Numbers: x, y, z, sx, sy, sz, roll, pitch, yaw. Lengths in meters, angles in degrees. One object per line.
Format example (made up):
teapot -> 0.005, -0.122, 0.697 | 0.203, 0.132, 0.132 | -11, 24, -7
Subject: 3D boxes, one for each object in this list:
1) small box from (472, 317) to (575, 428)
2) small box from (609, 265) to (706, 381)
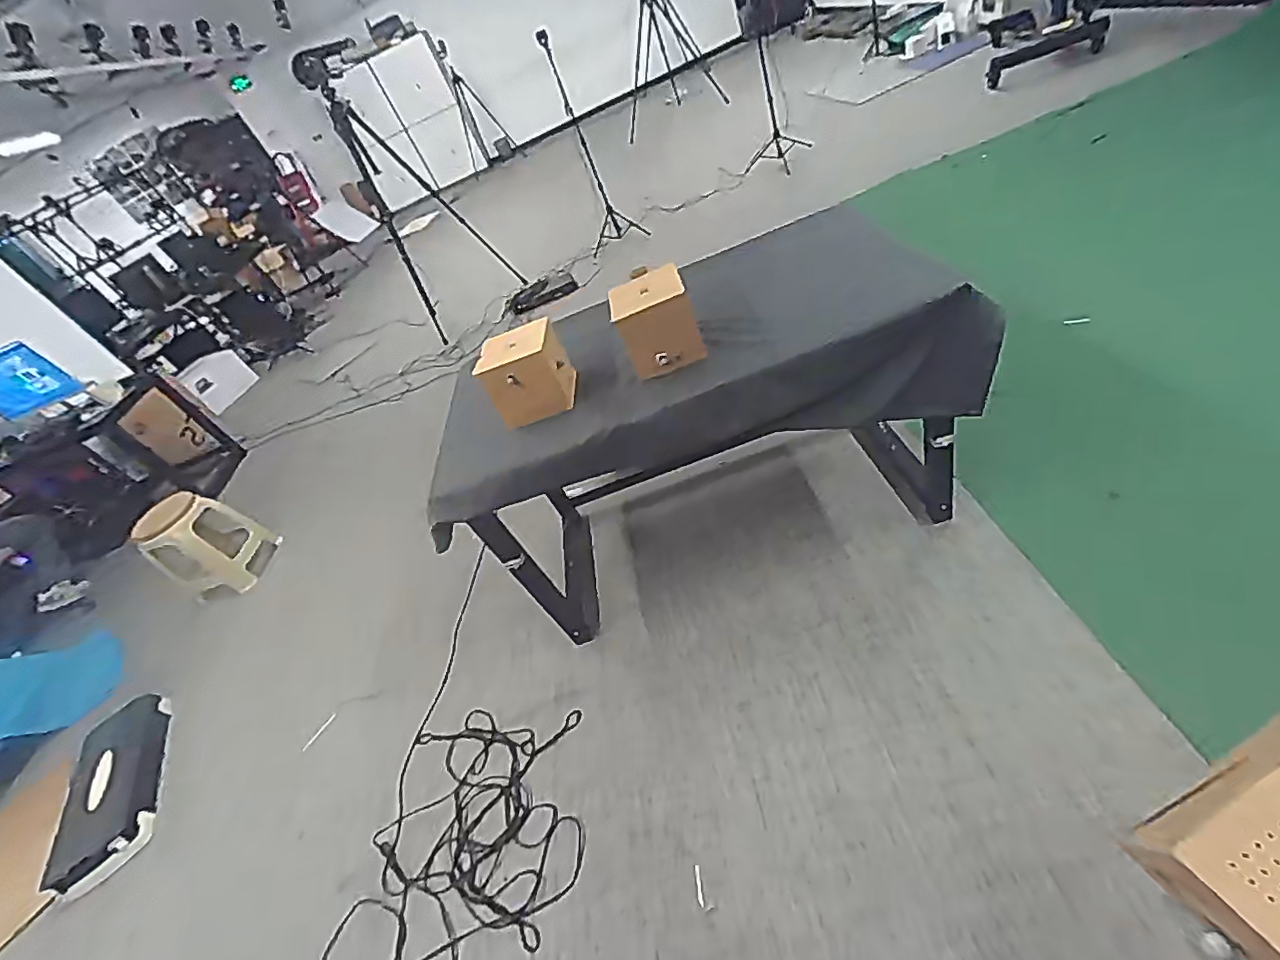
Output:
small box -> -0.268, -0.252, 1.288 | 0.179, 0.176, 0.168 | -17, 41, 12
small box -> 0.038, -0.357, 1.237 | 0.168, 0.176, 0.179 | -21, 41, 9
